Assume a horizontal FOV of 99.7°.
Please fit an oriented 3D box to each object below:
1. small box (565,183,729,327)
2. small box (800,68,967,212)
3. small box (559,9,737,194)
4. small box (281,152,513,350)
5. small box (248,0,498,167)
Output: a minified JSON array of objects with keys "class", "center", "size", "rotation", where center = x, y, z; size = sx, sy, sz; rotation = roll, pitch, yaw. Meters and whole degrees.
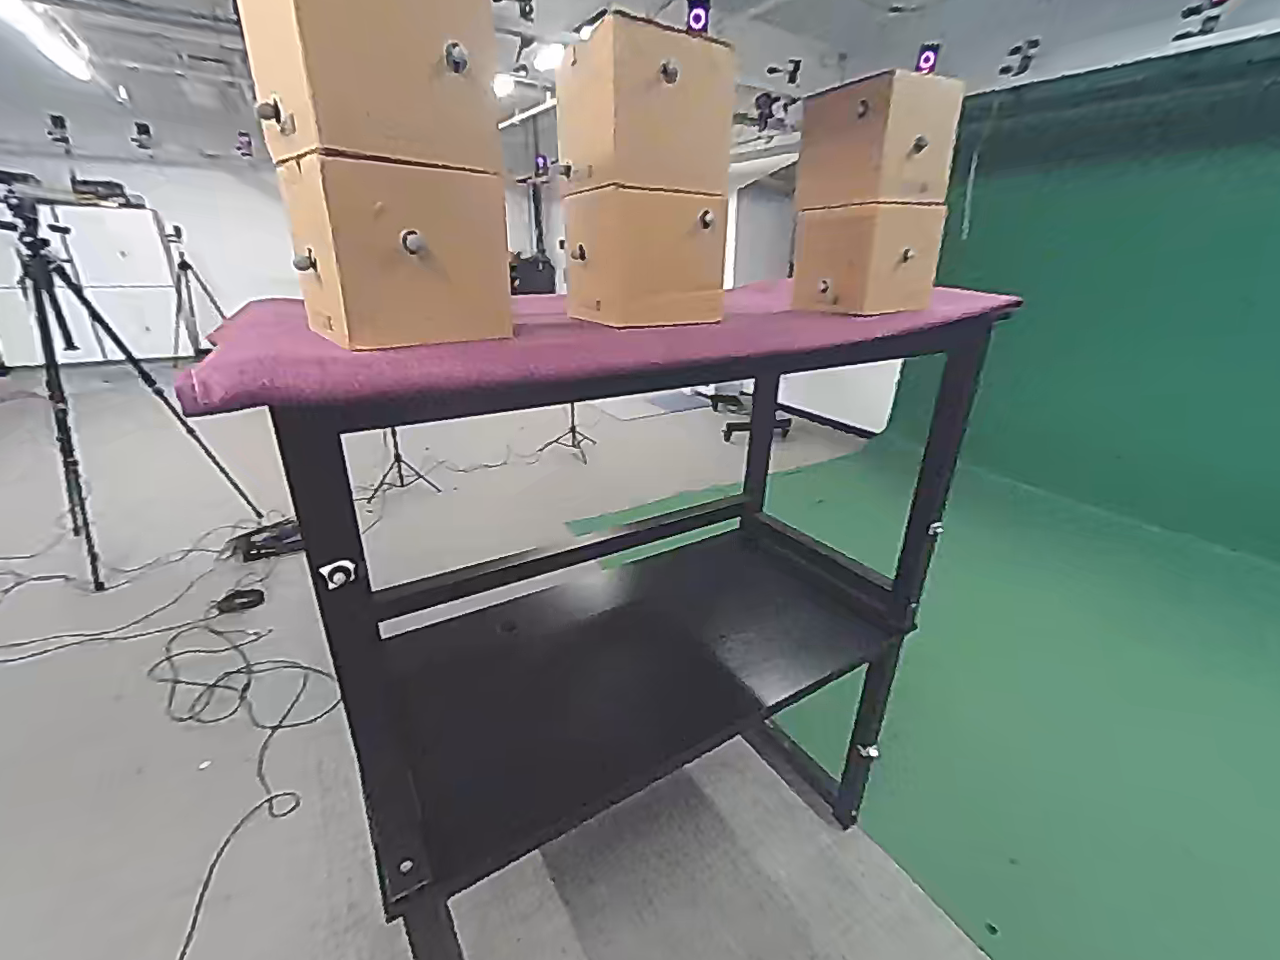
[{"class":"small box","center":[0.007,-0.312,0.768],"size":[0.179,0.176,0.168],"rotation":[-12,25,-28]},{"class":"small box","center":[0.384,-0.536,0.877],"size":[0.168,0.176,0.179],"rotation":[-14,25,-27]},{"class":"small box","center":[0.007,-0.466,0.710],"size":[0.179,0.176,0.168],"rotation":[-11,25,-29]},{"class":"small box","center":[-0.254,-0.240,0.584],"size":[0.179,0.176,0.168],"rotation":[-18,31,-37]},{"class":"small box","center":[-0.251,-0.390,0.520],"size":[0.179,0.176,0.168],"rotation":[-20,31,-40]}]
